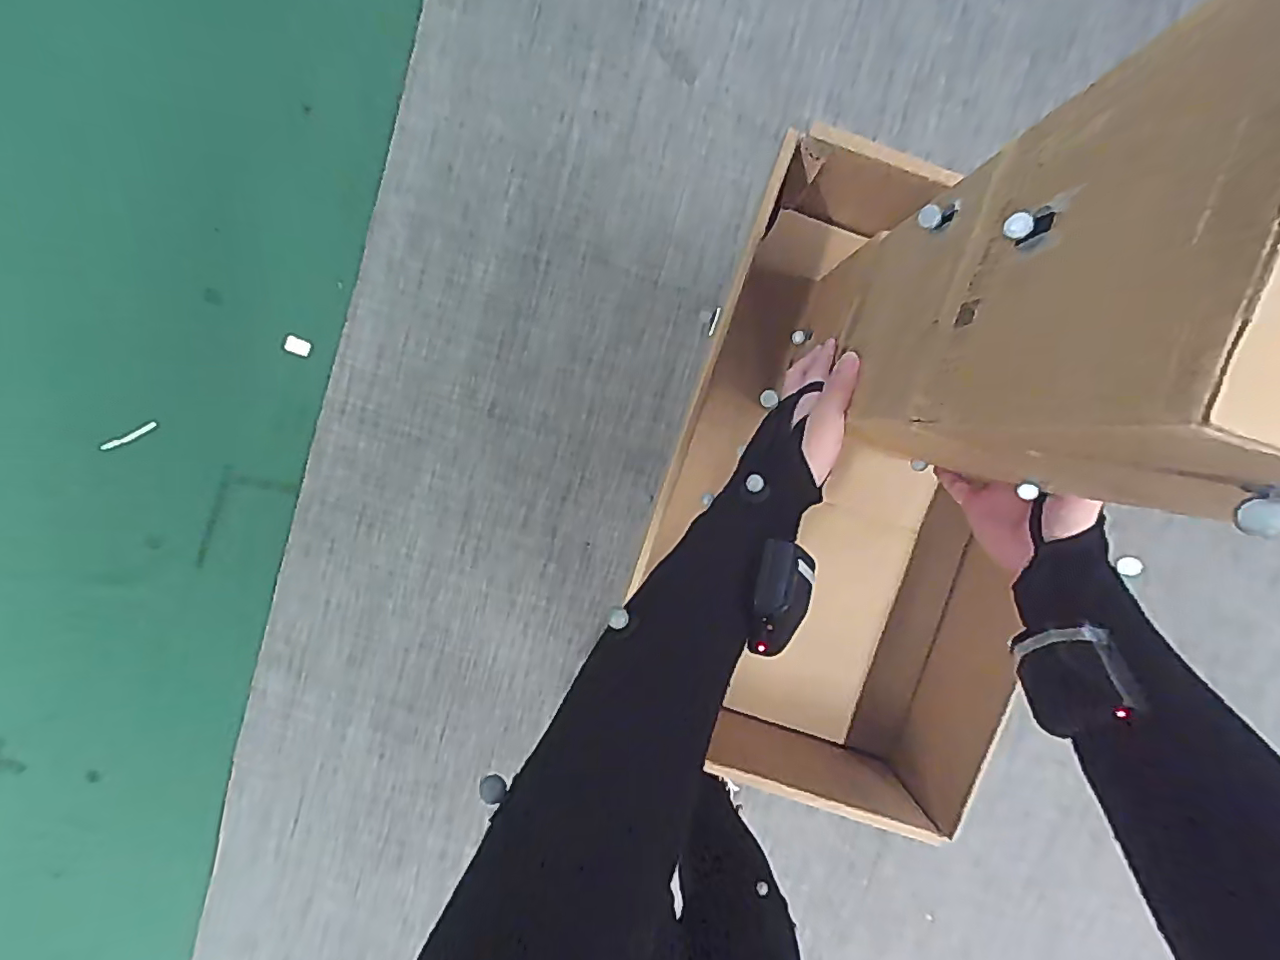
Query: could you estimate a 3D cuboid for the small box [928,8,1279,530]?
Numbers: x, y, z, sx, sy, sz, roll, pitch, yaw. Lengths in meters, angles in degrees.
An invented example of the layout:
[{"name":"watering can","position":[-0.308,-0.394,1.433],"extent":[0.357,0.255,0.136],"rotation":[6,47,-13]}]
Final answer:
[{"name":"small box","position":[0.269,-0.072,0.228],"extent":[0.179,0.176,0.168],"rotation":[18,96,-3]}]
